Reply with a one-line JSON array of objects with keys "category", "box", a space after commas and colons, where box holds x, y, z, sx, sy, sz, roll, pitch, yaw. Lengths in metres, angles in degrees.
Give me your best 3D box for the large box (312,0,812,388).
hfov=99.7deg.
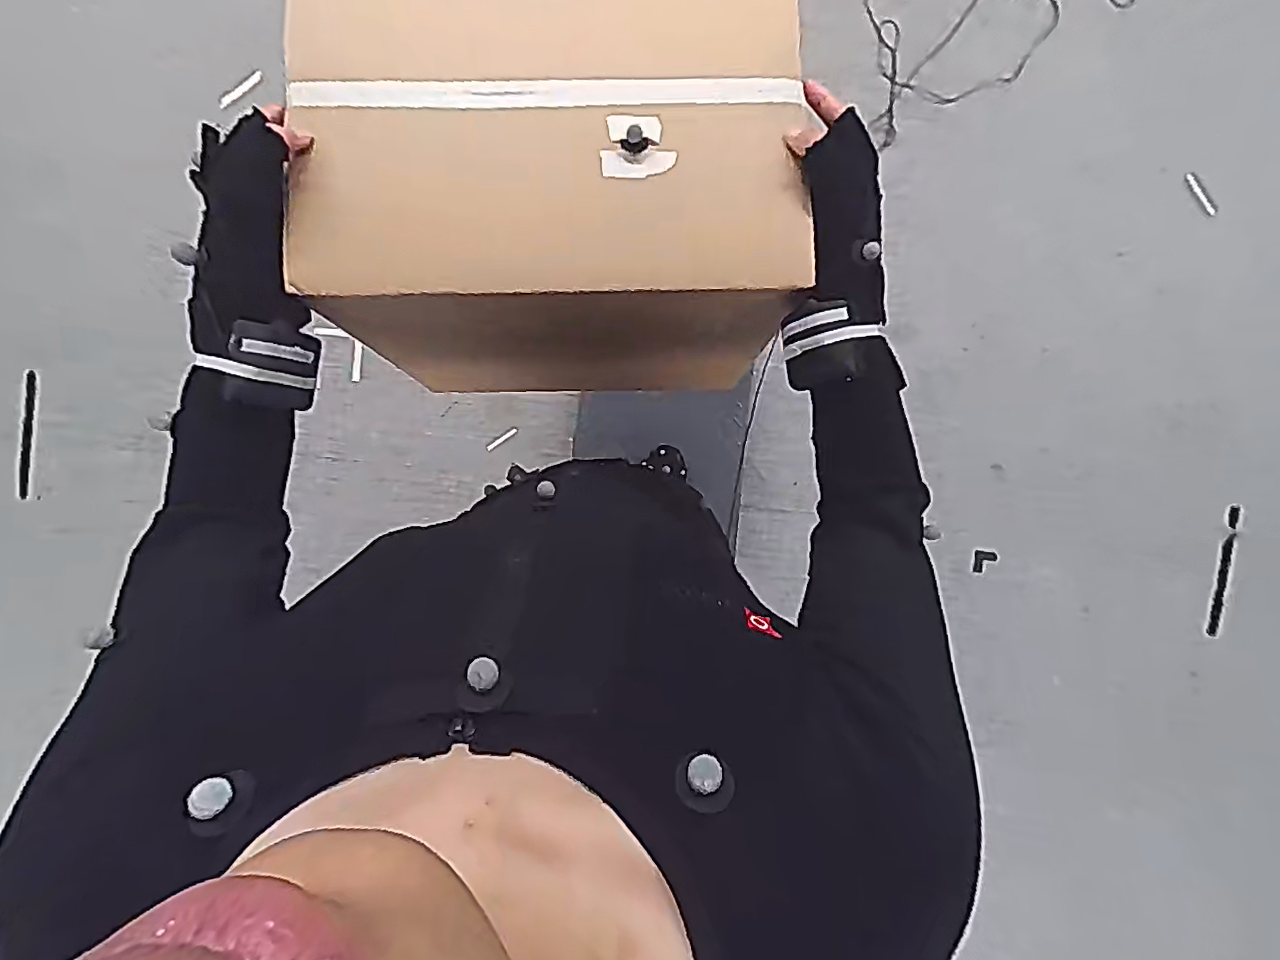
[{"category": "large box", "box": [-0.070, -0.293, 0.590, 0.408, 0.320, 0.320, -1, 86, -2]}]
